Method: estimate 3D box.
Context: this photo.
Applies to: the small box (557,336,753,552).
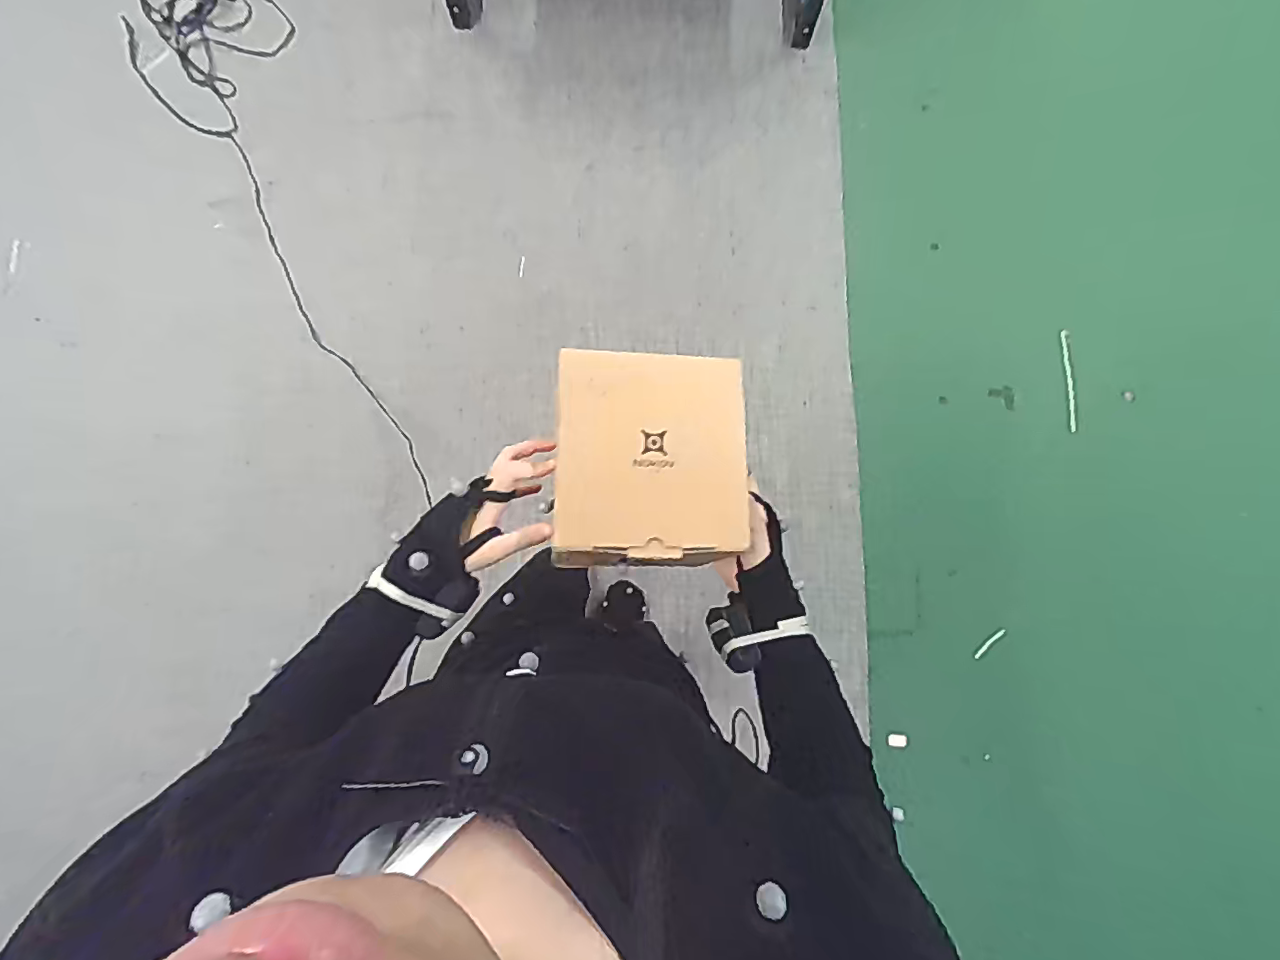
[{"bbox_3d":[0.002,-0.023,0.547,0.168,0.176,0.179,1,78,-10],"label":"small box"}]
